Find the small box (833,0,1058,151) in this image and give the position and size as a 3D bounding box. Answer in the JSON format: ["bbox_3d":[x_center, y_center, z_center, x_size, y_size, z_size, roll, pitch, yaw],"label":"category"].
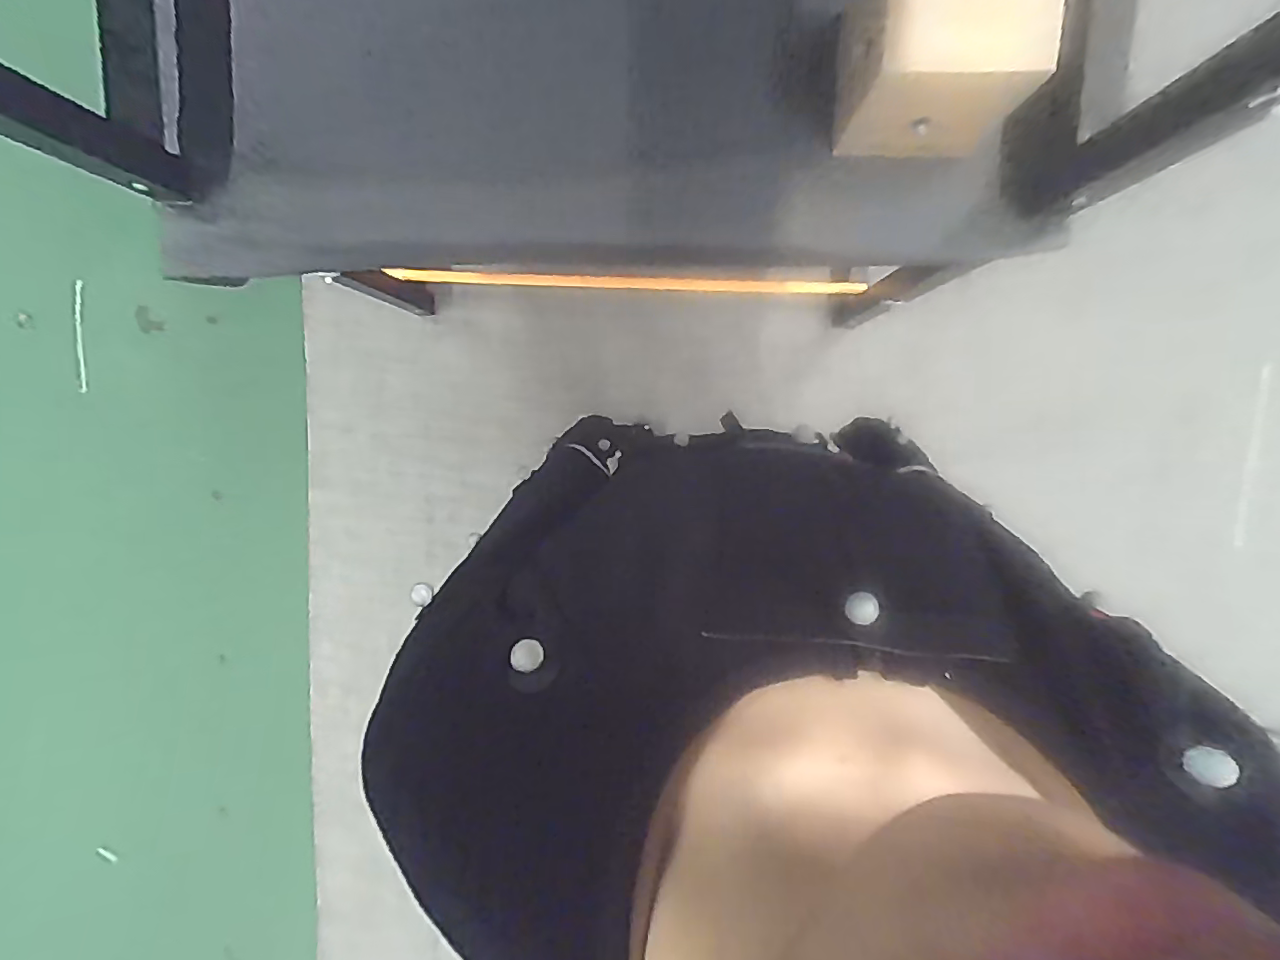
[{"bbox_3d":[0.322,-0.491,0.596,0.168,0.176,0.179,2,96,3],"label":"small box"}]
